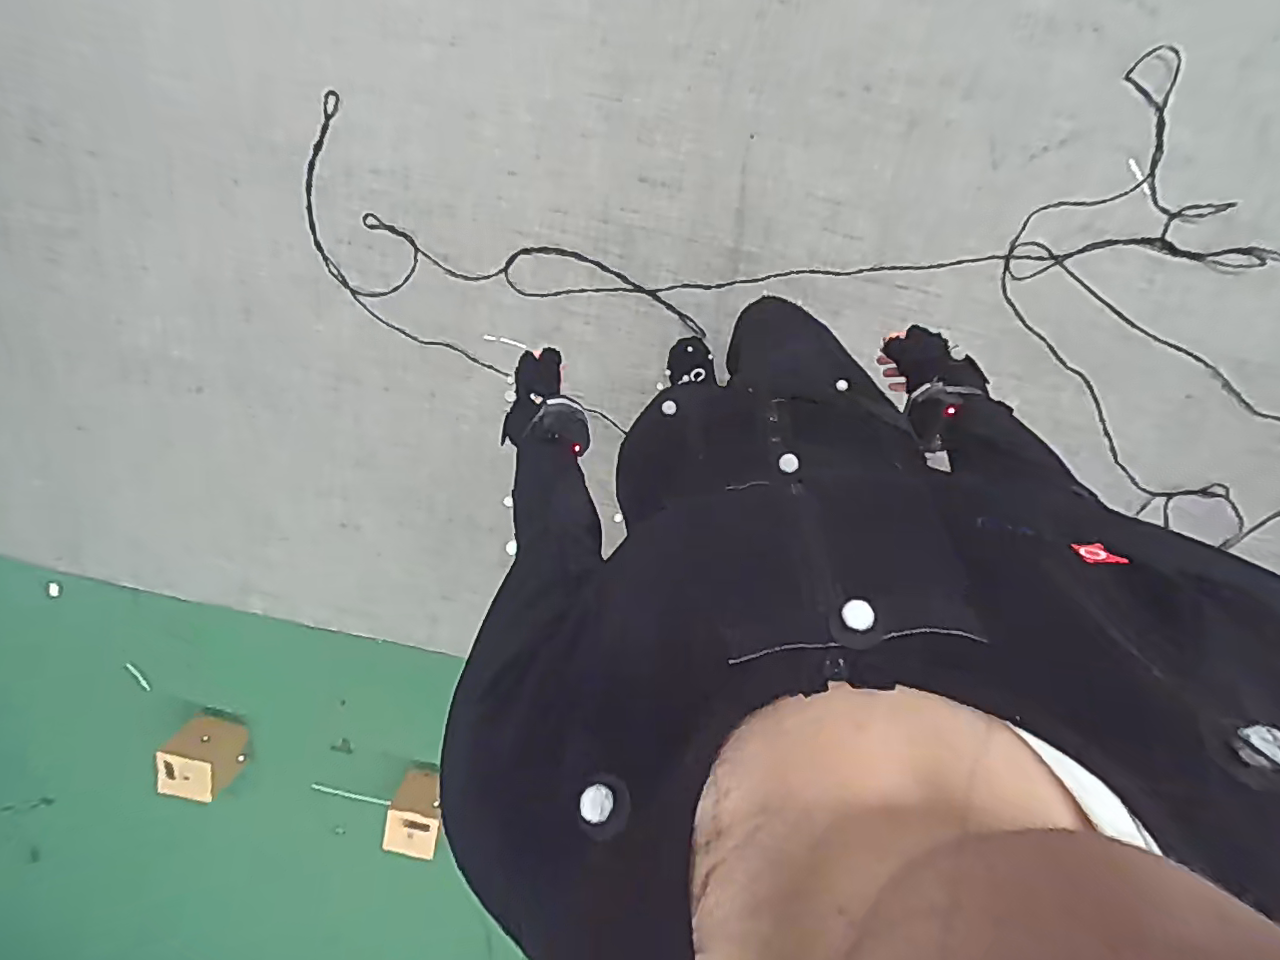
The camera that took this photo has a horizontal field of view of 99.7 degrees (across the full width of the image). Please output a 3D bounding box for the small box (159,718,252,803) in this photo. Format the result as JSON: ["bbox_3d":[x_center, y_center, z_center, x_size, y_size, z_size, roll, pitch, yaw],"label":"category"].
[{"bbox_3d":[-1.424,0.914,1.777,0.179,0.176,0.168,14,107,-1],"label":"small box"}]
